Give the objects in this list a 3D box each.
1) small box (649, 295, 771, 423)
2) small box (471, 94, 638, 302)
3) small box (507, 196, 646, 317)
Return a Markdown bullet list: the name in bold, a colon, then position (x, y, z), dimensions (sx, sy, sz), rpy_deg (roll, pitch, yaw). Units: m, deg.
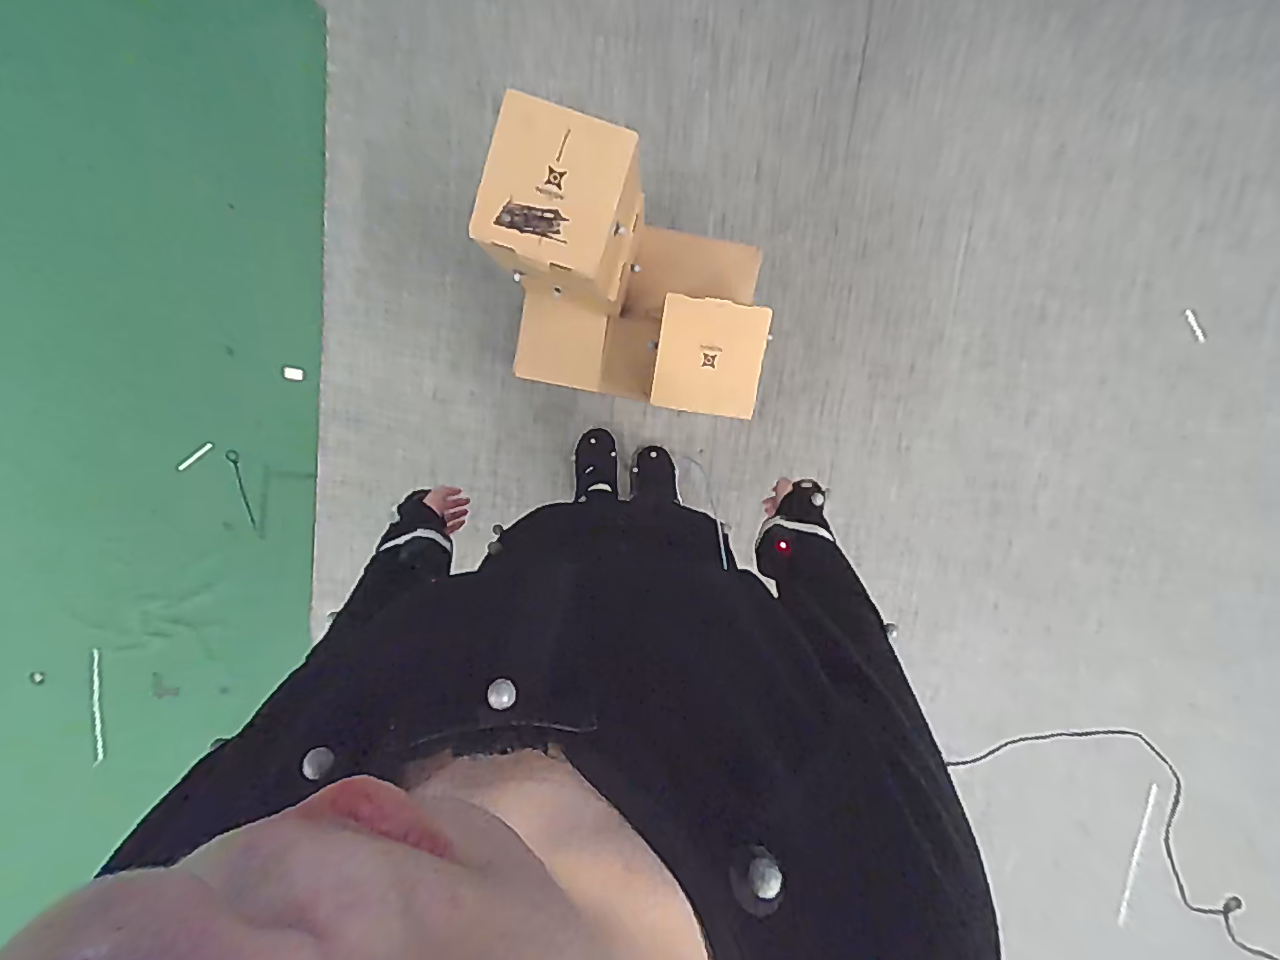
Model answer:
- **small box**: position (0.109, -0.198, 0.915), dimensions (0.168, 0.176, 0.179), rpy_deg (9, 98, -1)
- **small box**: position (-0.102, -0.360, 0.729), dimensions (0.168, 0.176, 0.179), rpy_deg (19, 97, -2)
- **small box**: position (-0.096, -0.380, 0.893), dimensions (0.179, 0.176, 0.168), rpy_deg (17, 98, -2)
